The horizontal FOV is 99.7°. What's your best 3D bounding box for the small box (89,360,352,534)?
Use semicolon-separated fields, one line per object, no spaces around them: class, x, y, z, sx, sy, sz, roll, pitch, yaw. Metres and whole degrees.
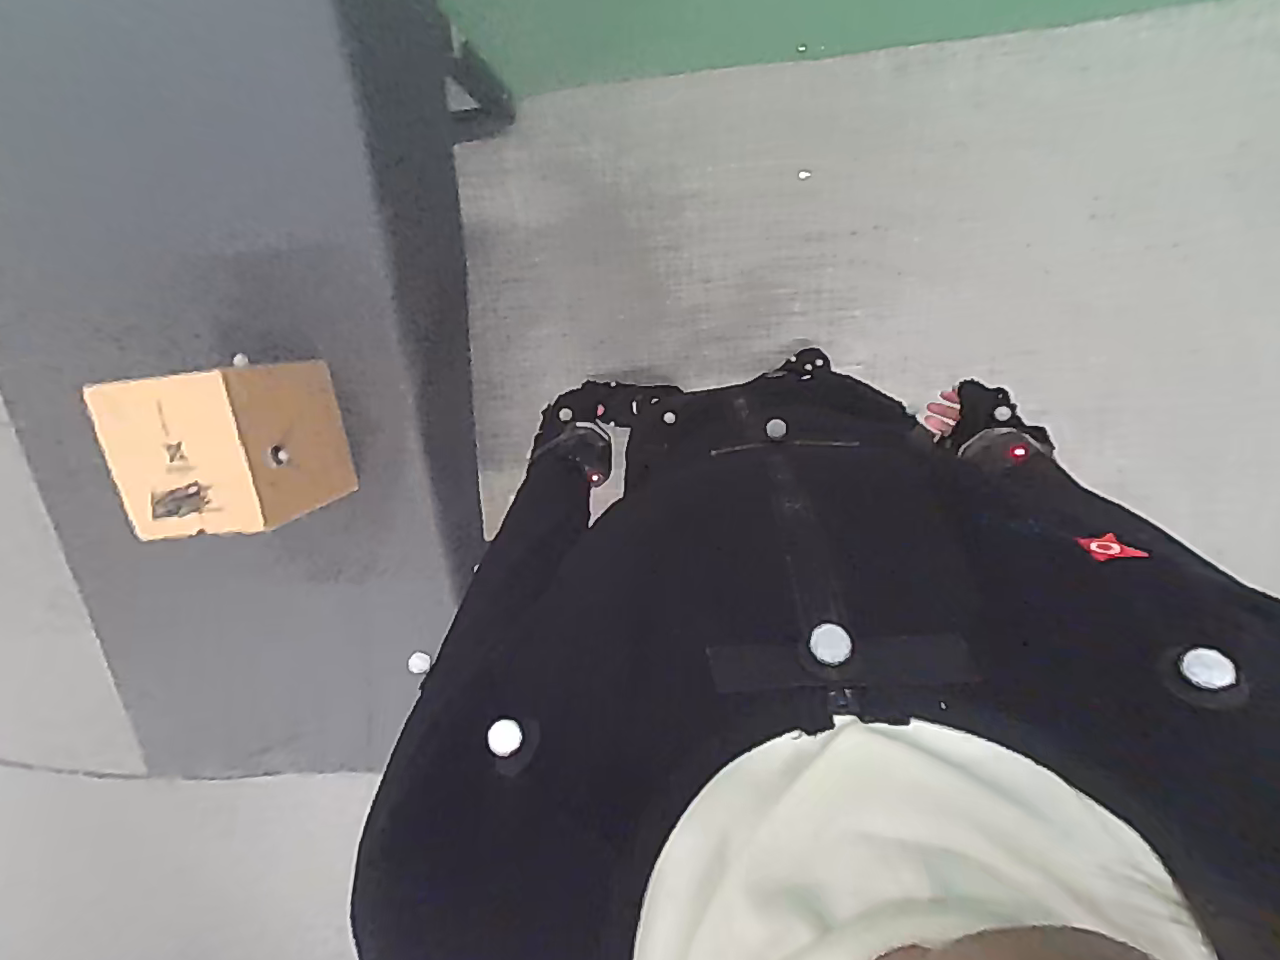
small box;-0.488;-0.047;0.661;0.168;0.176;0.179;-4;104;8
